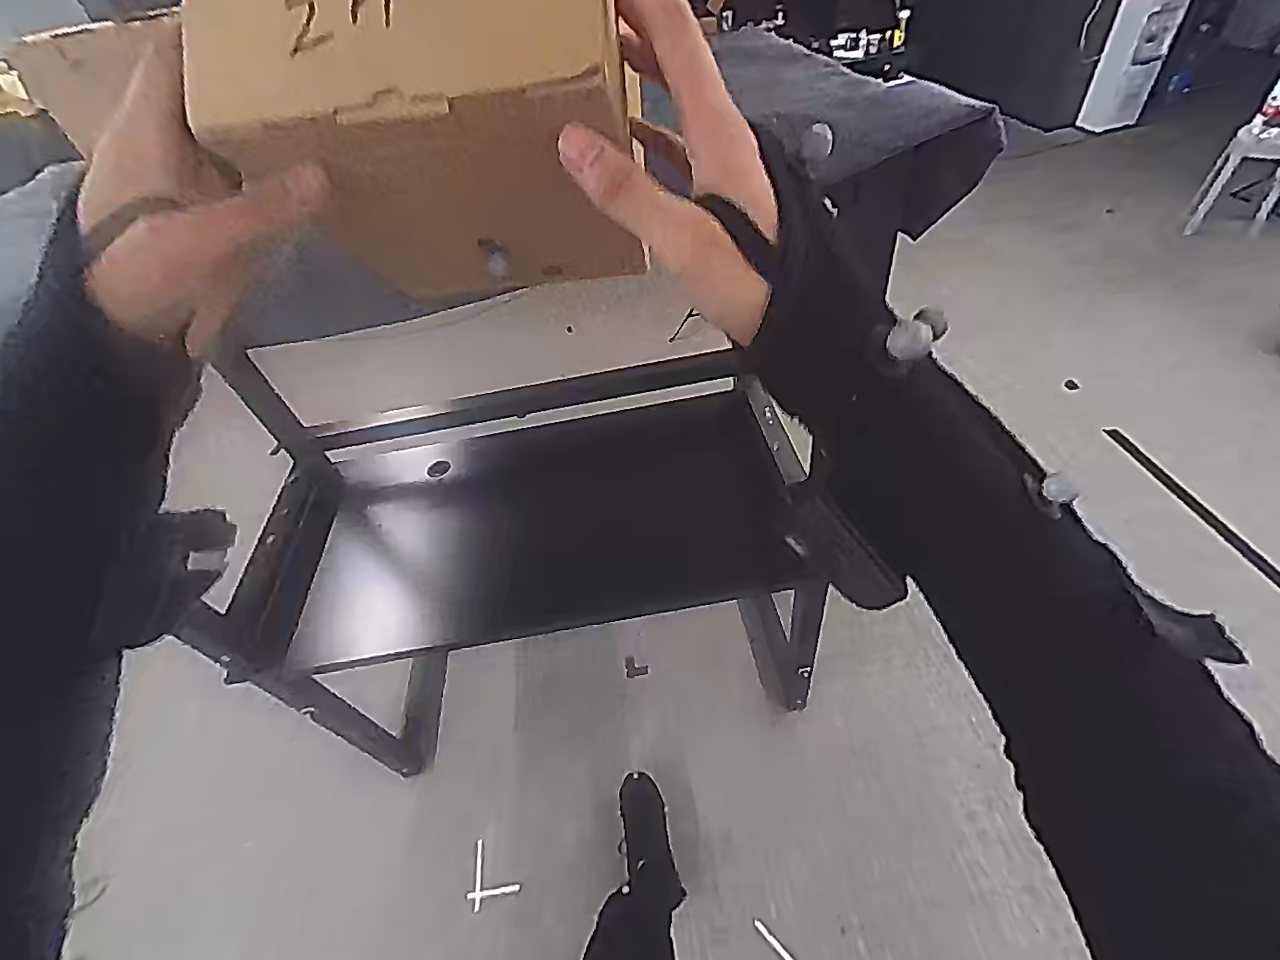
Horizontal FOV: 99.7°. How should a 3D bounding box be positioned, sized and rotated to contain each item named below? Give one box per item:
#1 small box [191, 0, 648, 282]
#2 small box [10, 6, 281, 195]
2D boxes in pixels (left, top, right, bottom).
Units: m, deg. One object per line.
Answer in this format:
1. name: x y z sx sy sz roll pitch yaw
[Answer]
1. small box: -0.086 -0.228 0.287 0.168 0.176 0.179 -3 87 6
2. small box: -0.620 -0.495 0.714 0.168 0.176 0.179 -10 45 1
